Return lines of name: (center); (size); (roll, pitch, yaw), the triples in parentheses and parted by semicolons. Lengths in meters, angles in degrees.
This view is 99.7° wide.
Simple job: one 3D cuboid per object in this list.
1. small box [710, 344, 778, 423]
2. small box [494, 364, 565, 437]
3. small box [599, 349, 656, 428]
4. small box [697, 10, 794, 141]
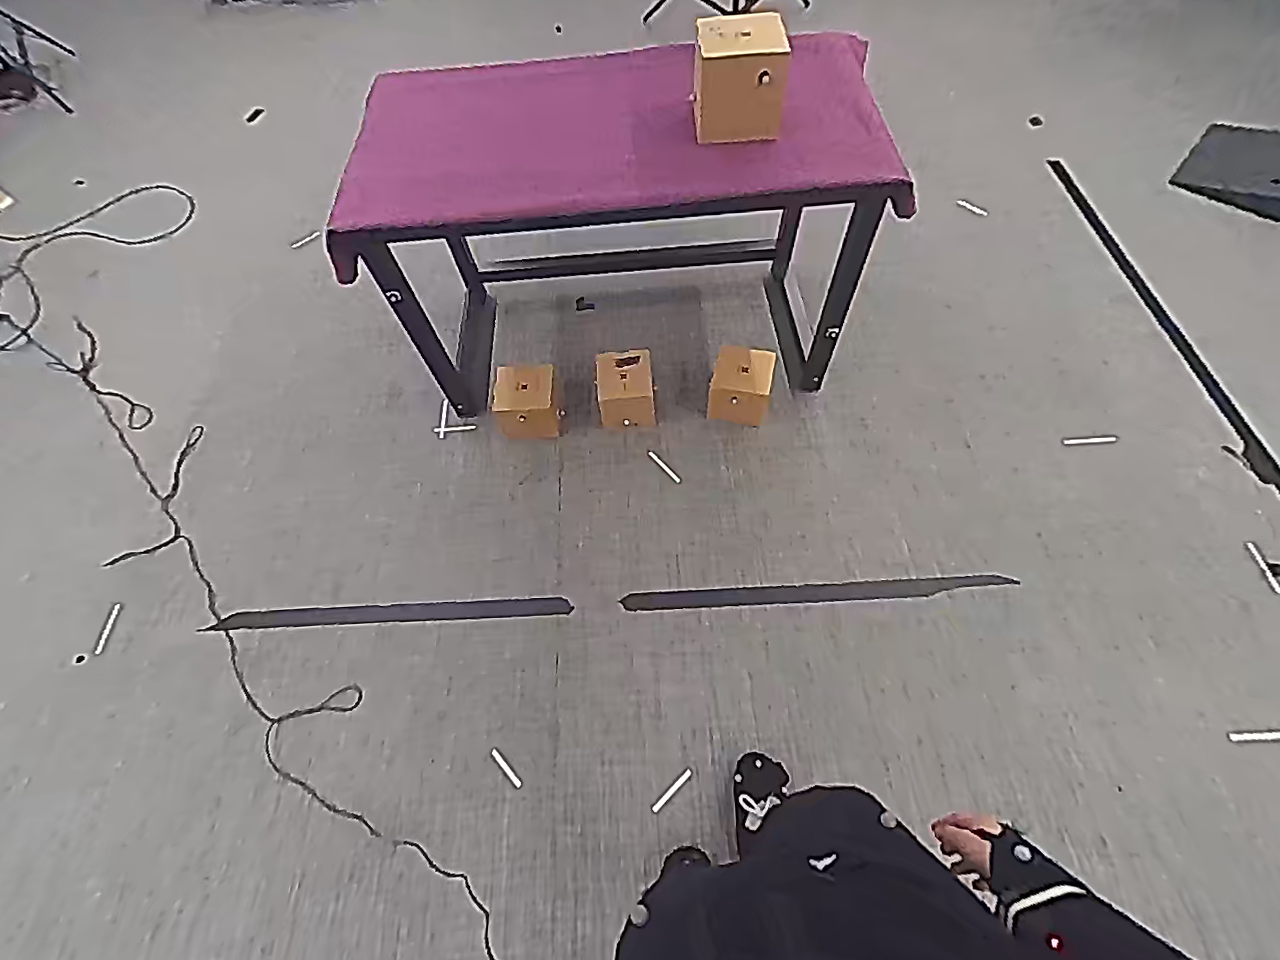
small box: (0.318, -0.294, 1.675); (0.179, 0.176, 0.168); (11, 64, 11)
small box: (-0.342, -0.245, 1.696); (0.179, 0.176, 0.168); (-1, 63, 2)
small box: (-0.038, -0.284, 1.692); (0.168, 0.176, 0.179); (-5, 63, 2)
small box: (0.214, -0.853, 1.149); (0.179, 0.176, 0.168); (-3, 61, 3)
